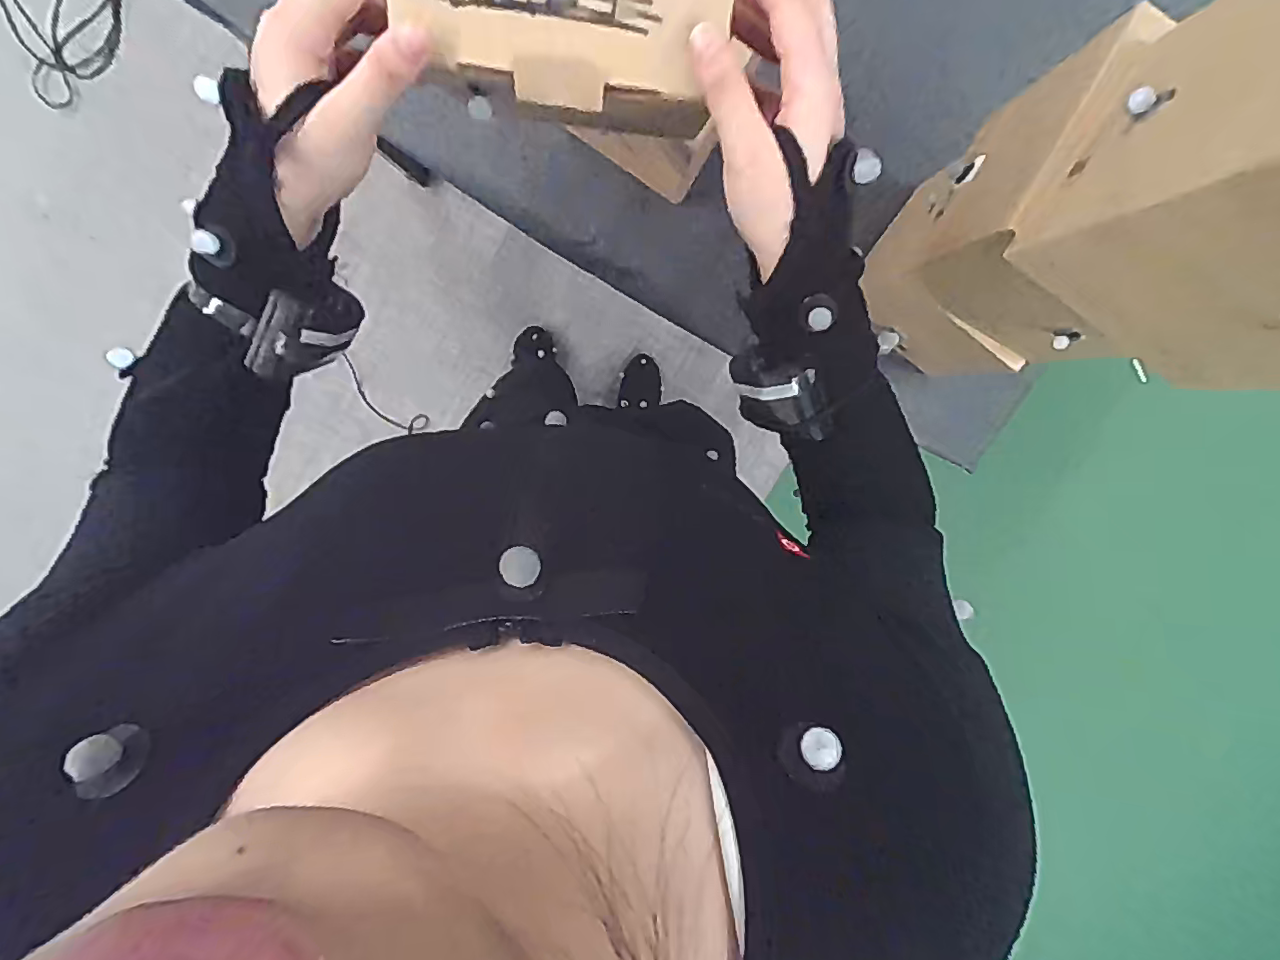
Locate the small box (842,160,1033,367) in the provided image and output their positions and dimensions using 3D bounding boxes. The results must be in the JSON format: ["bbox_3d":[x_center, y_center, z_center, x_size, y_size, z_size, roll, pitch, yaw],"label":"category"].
[{"bbox_3d":[0.364,-0.245,0.608,0.168,0.176,0.179,35,98,-7],"label":"small box"}]

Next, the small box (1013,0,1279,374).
[{"bbox_3d":[0.365,-0.168,0.289,0.179,0.176,0.168,32,96,-7],"label":"small box"}]

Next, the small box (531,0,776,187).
[{"bbox_3d":[0.014,-0.444,0.562,0.179,0.176,0.168,31,99,-6],"label":"small box"}]

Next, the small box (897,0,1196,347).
[{"bbox_3d":[0.360,-0.223,0.447,0.179,0.176,0.168,28,97,-5],"label":"small box"}]
